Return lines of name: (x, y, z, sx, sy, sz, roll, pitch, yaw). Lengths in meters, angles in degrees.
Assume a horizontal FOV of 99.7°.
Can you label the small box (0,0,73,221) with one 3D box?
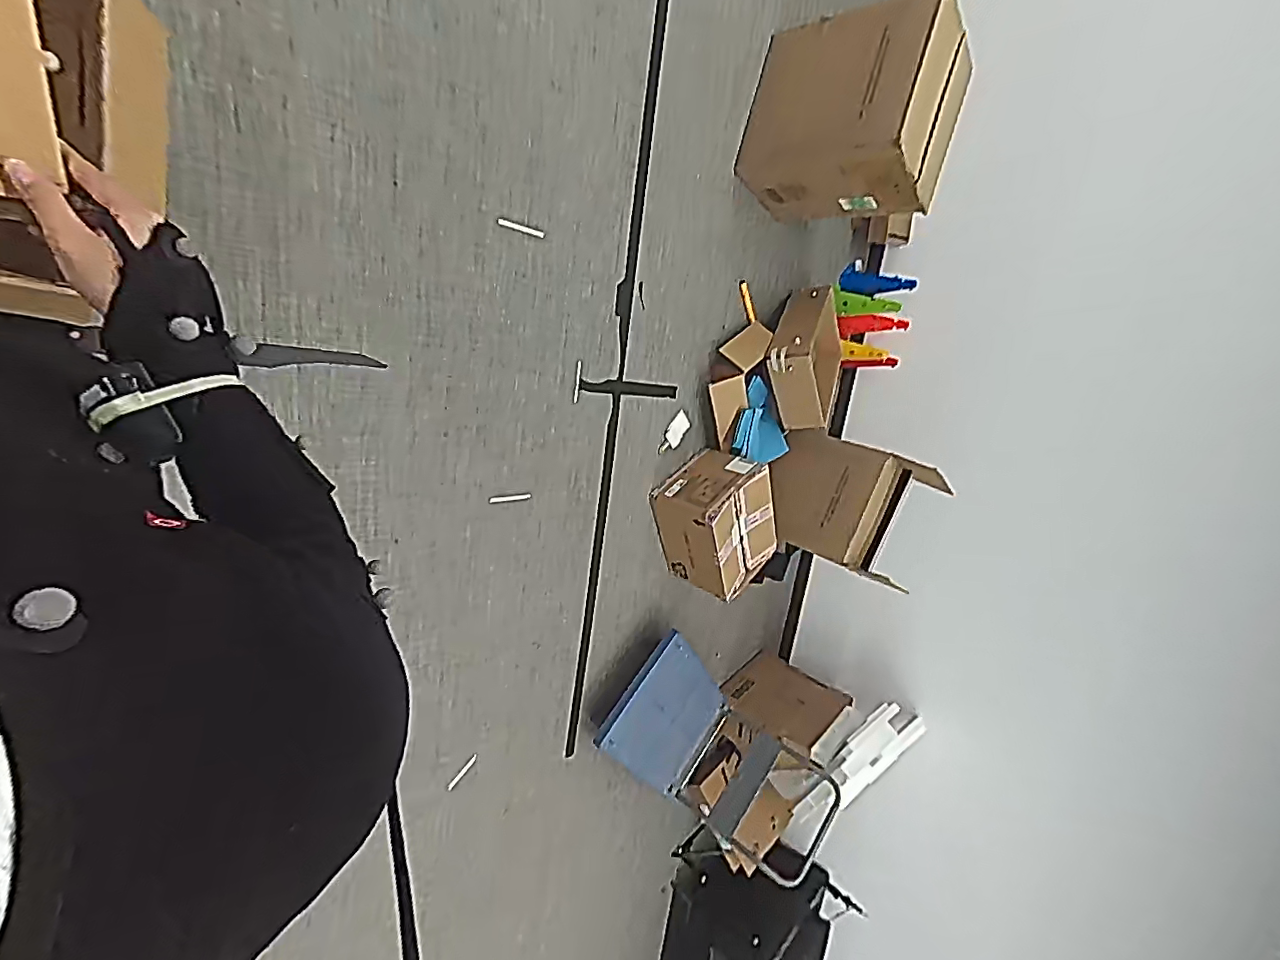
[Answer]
small box: (-0.482, -0.265, 0.320, 0.179, 0.176, 0.168, -13, 112, -47)
